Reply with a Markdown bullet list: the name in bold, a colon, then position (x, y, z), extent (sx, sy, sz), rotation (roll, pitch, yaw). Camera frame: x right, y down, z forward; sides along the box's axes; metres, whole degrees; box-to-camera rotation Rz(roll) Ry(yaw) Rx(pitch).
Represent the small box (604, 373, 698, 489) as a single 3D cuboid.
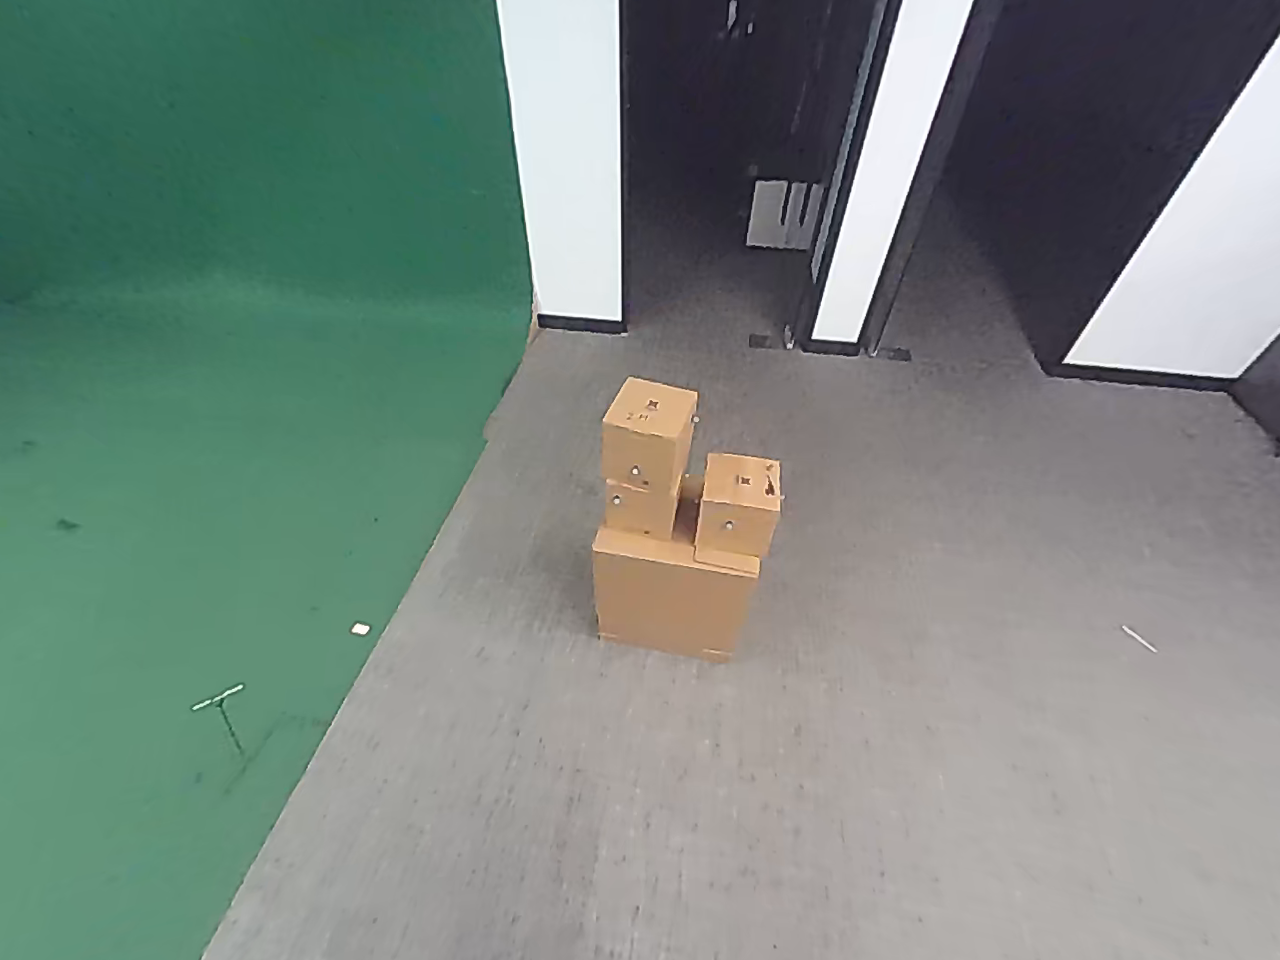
- **small box**: position (0.023, -0.110, 1.221), extent (0.168, 0.176, 0.179), rotation (15, 48, 12)
